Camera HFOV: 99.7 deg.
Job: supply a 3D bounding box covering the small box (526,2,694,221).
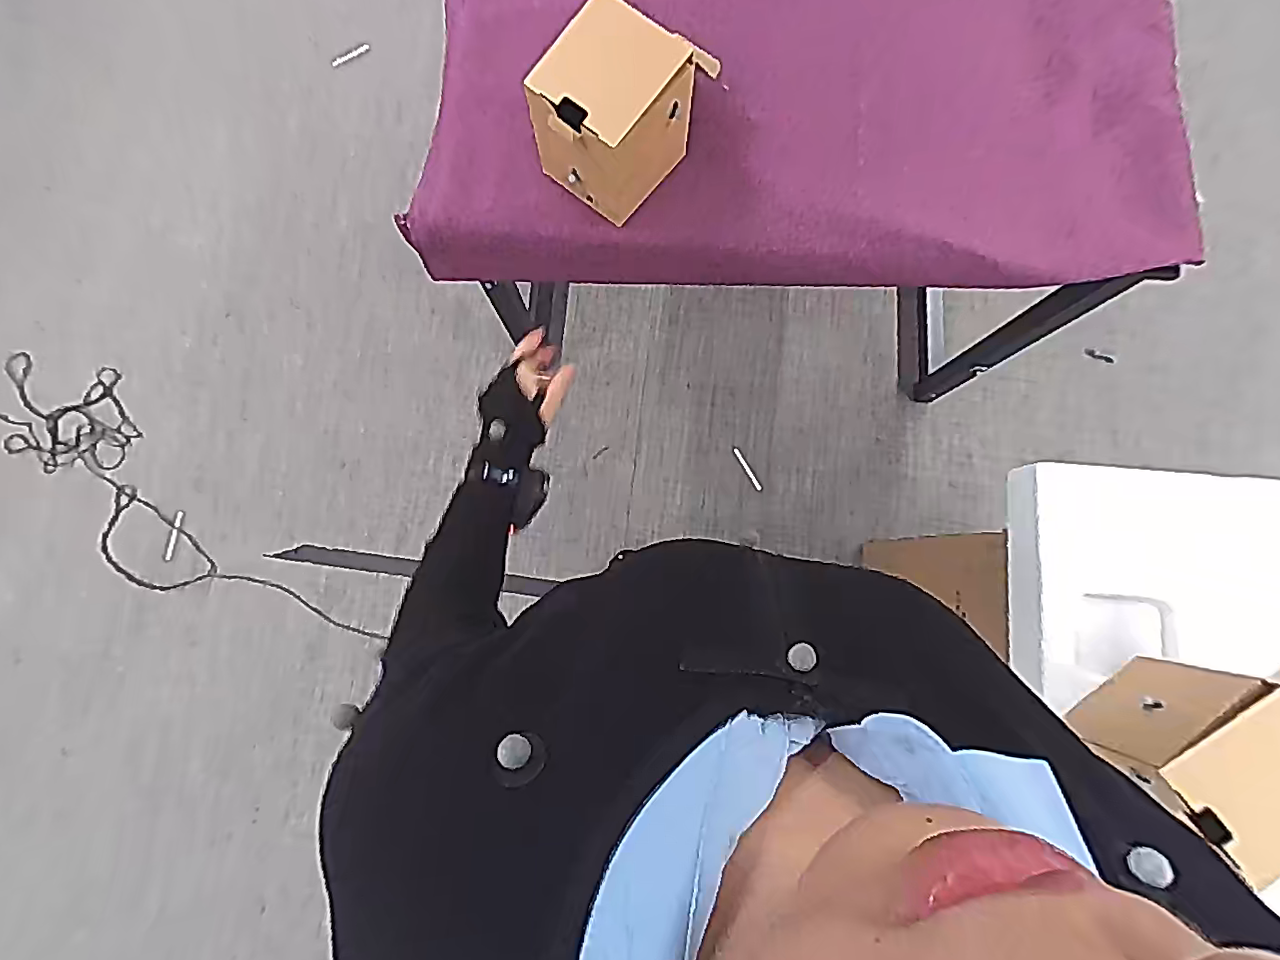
[{"bbox_3d":[-0.041,-0.540,0.814,0.168,0.176,0.179,39,82,7],"label":"small box"}]
